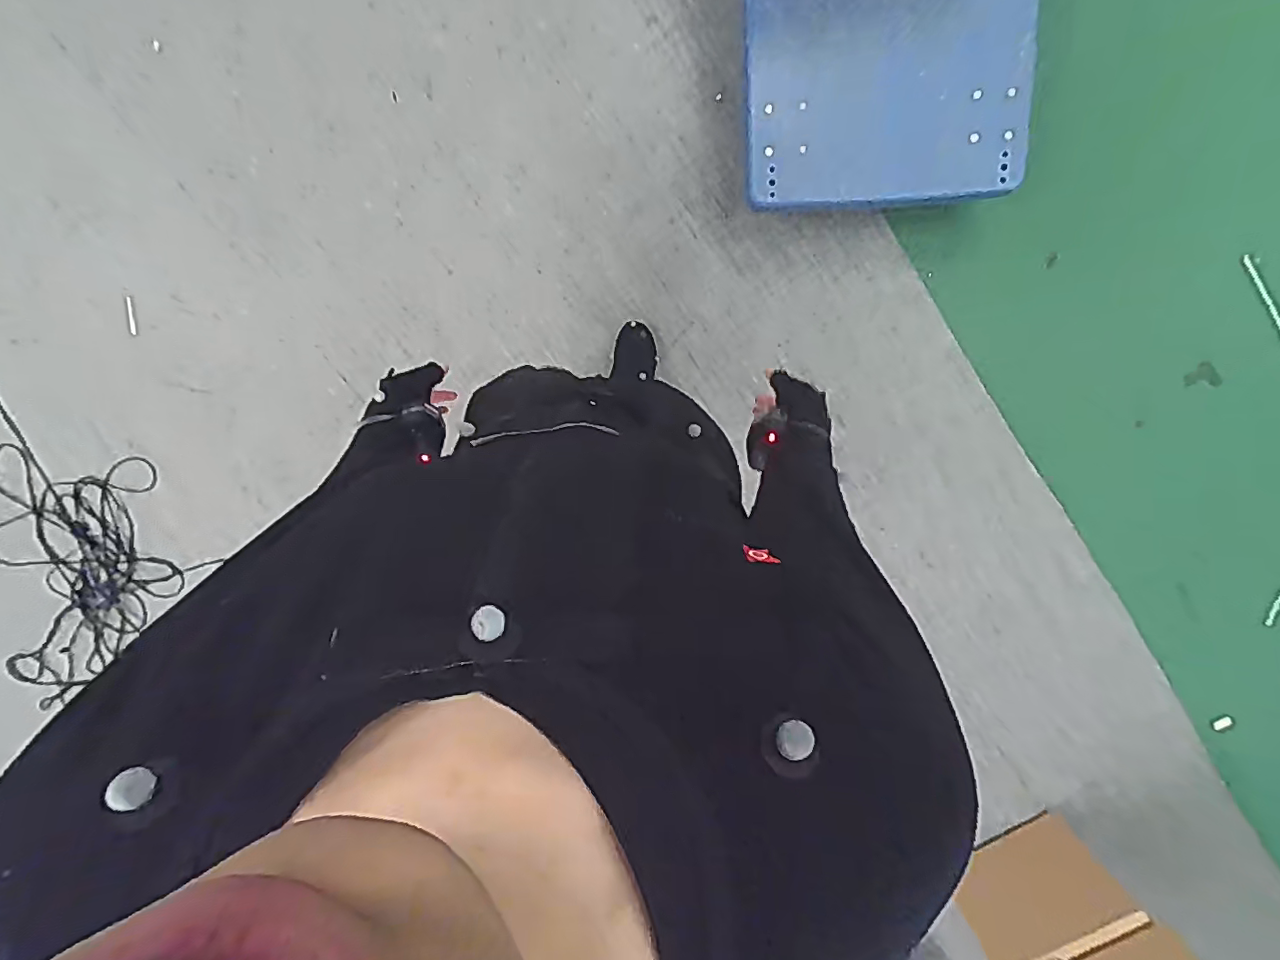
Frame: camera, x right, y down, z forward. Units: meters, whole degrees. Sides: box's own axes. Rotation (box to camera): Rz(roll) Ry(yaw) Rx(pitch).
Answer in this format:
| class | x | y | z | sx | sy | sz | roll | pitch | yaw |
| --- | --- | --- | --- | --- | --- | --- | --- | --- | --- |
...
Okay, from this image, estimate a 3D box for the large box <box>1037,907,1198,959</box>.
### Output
| class | x | y | z | sx | sy | sz | roll | pitch | yaw |
| --- | --- | --- | --- | --- | --- | --- | --- | --- | --- |
| large box | 1.224 | 1.343 | 1.291 | 0.408 | 0.320 | 0.320 | -35 | 103 | 9 |
